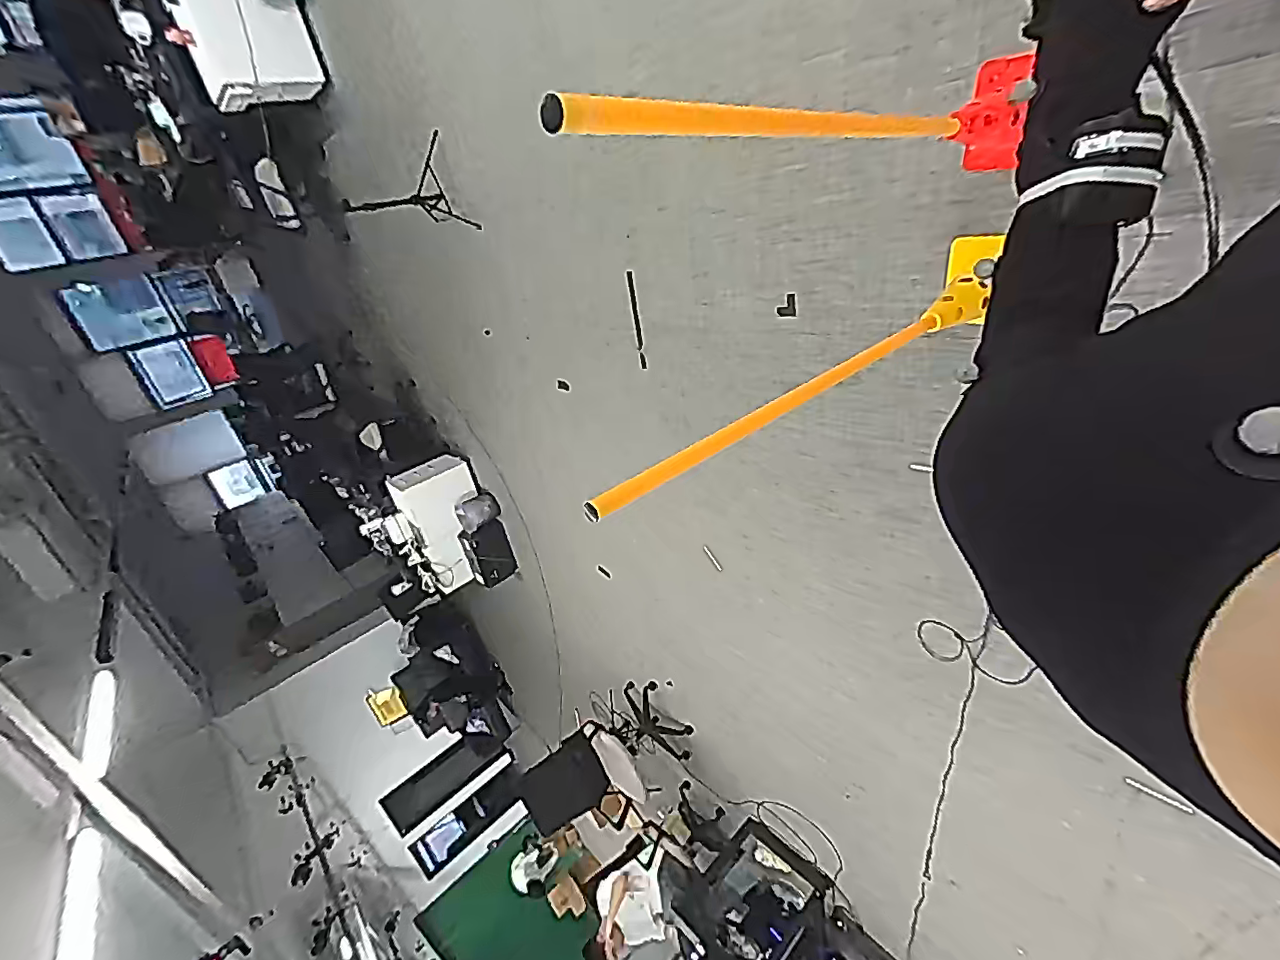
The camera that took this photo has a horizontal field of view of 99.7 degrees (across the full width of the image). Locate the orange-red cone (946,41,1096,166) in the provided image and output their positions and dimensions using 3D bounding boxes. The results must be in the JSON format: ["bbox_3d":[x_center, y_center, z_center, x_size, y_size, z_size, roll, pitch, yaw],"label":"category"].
[{"bbox_3d":[0.651,-0.677,0.995,0.198,0.360,0.199,26,133,40],"label":"orange-red cone"}]
